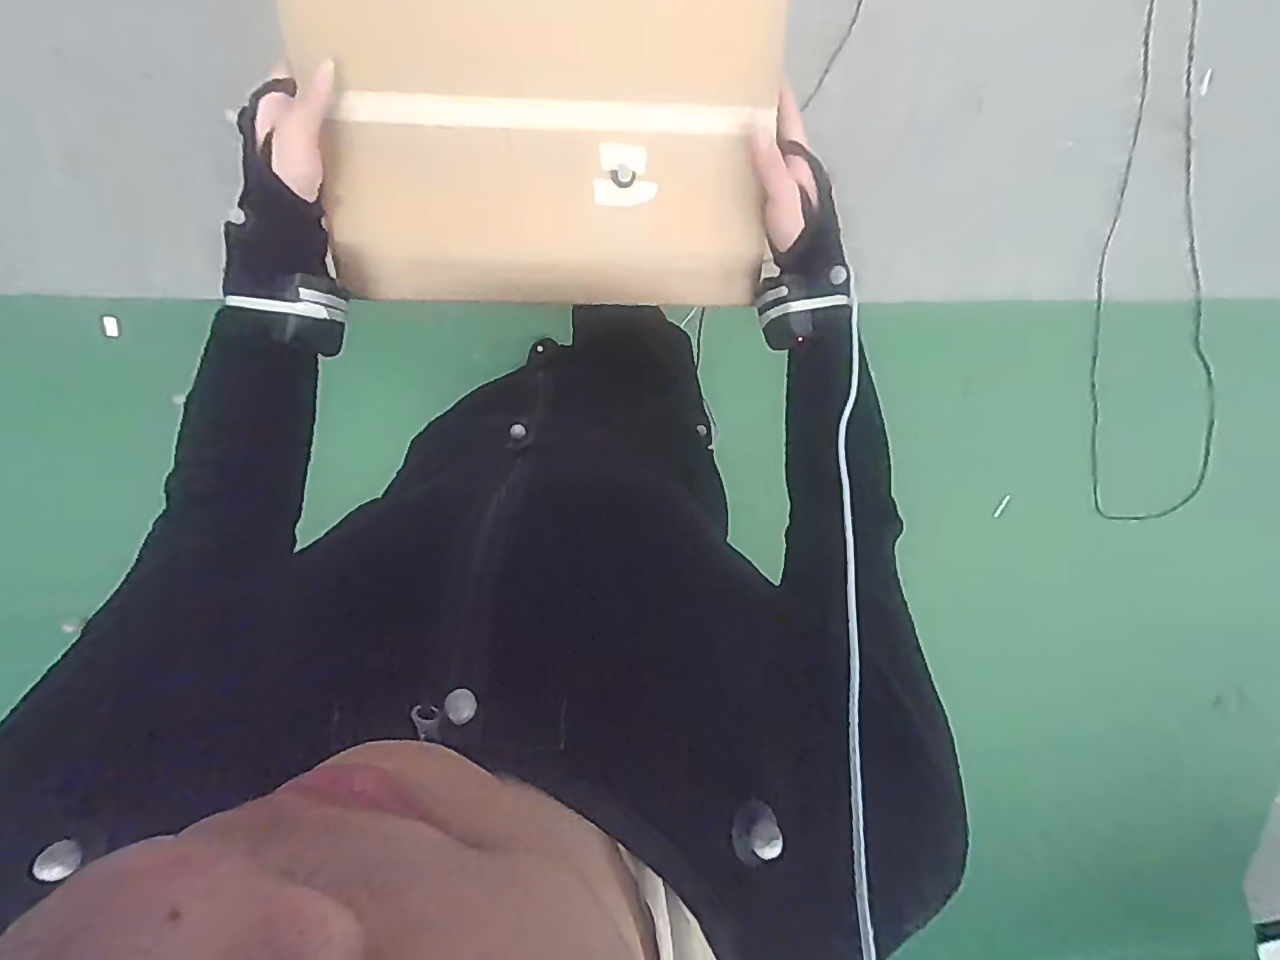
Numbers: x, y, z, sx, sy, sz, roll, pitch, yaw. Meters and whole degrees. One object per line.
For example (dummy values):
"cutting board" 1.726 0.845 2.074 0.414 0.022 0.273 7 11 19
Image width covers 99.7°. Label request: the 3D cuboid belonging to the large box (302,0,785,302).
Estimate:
"large box" -0.090 -0.380 0.616 0.408 0.320 0.320 -1 115 -5
